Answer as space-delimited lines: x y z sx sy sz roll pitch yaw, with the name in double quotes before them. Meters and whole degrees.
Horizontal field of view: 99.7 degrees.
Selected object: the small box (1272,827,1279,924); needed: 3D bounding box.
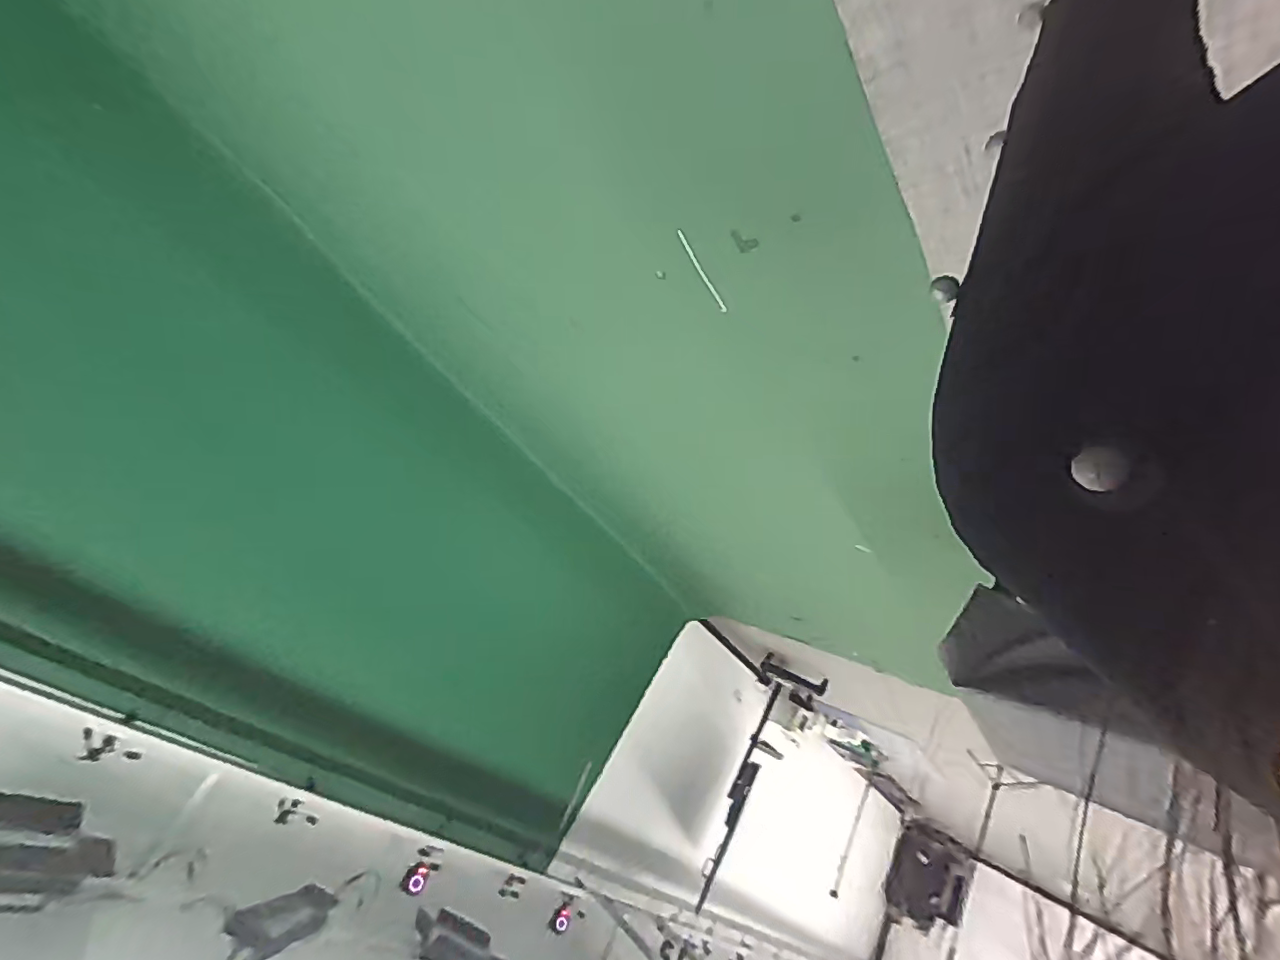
"small box" 1.379 0.825 1.058 0.179 0.176 0.168 45 154 -25
